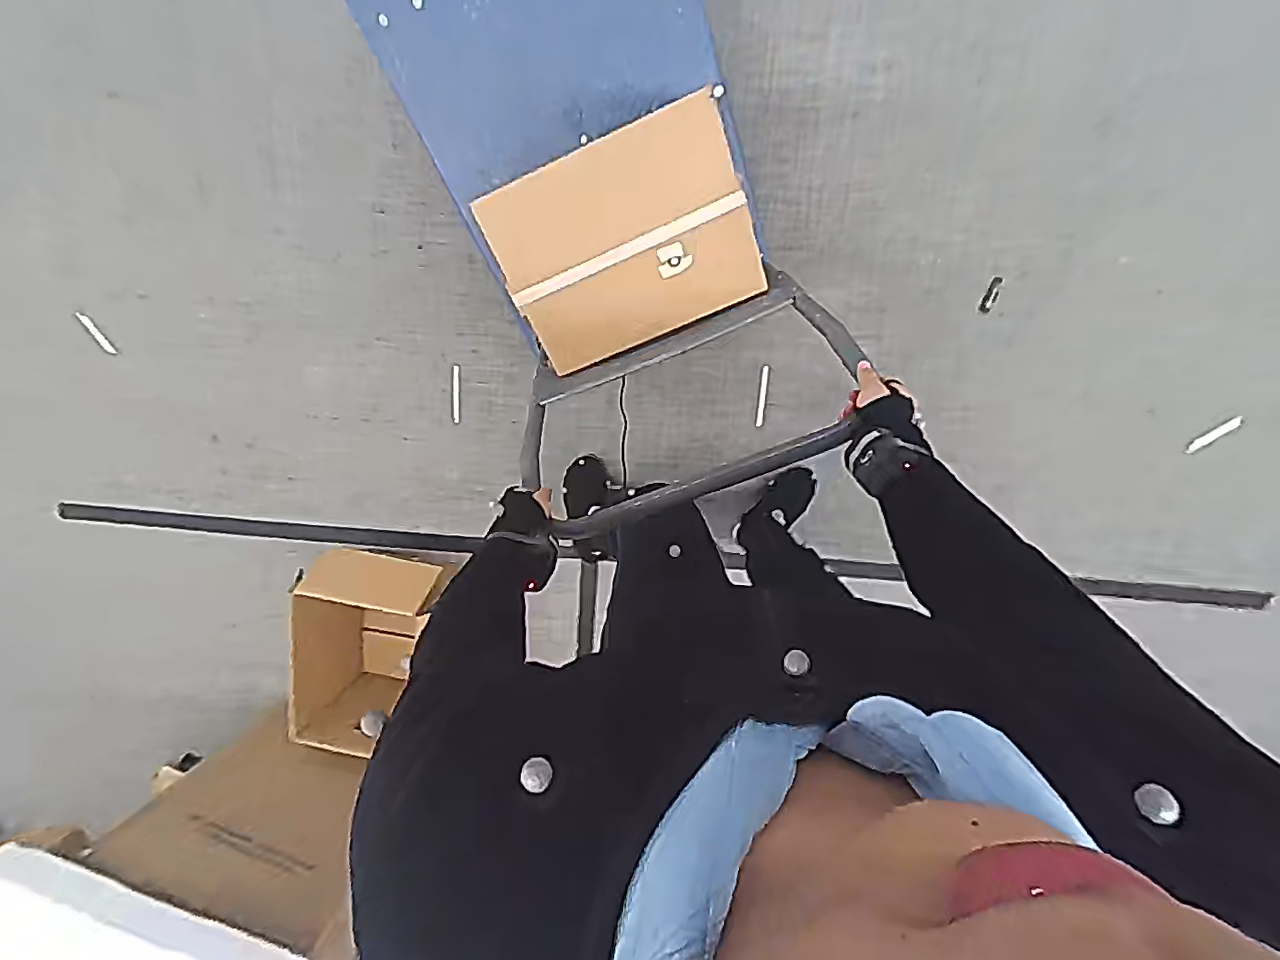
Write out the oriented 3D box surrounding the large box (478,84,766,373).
[{"bbox_3d":[-0.031,-0.463,1.023,0.408,0.320,0.320,-22,121,9],"label":"large box"}]
